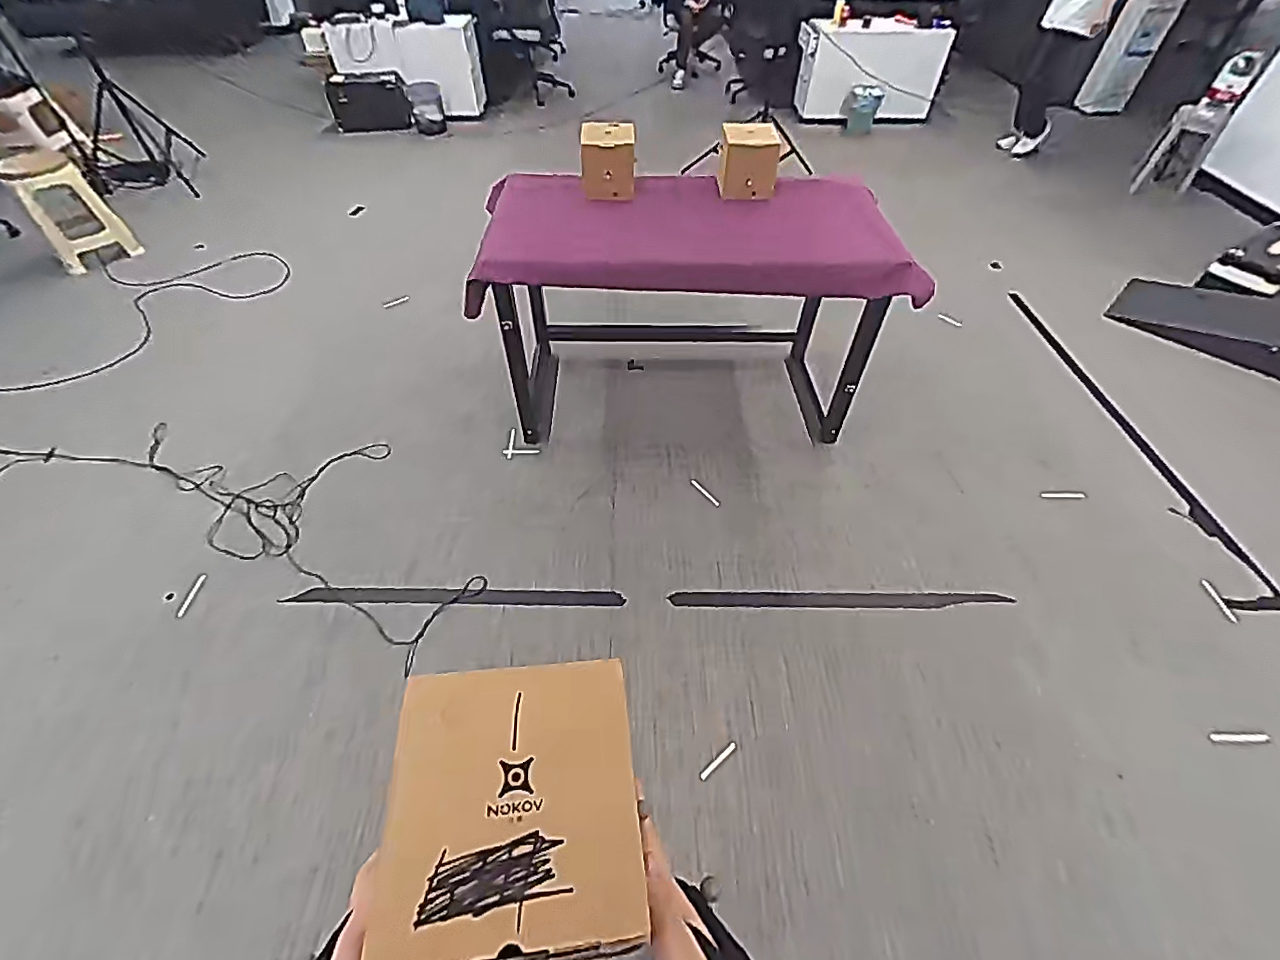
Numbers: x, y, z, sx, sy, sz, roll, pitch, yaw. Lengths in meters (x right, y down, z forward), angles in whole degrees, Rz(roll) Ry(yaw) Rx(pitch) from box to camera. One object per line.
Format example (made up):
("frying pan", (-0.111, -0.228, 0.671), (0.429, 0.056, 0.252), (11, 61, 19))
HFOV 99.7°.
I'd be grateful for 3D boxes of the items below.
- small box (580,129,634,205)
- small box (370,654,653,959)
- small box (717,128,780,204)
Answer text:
("small box", (-0.102, -1.007, 1.745), (0.168, 0.176, 0.179), (-1, 52, -2))
("small box", (-0.086, 0.260, 0.423), (0.168, 0.176, 0.179), (-2, 46, -8))
("small box", (0.346, -1.021, 1.759), (0.168, 0.176, 0.179), (-1, 51, 0))
